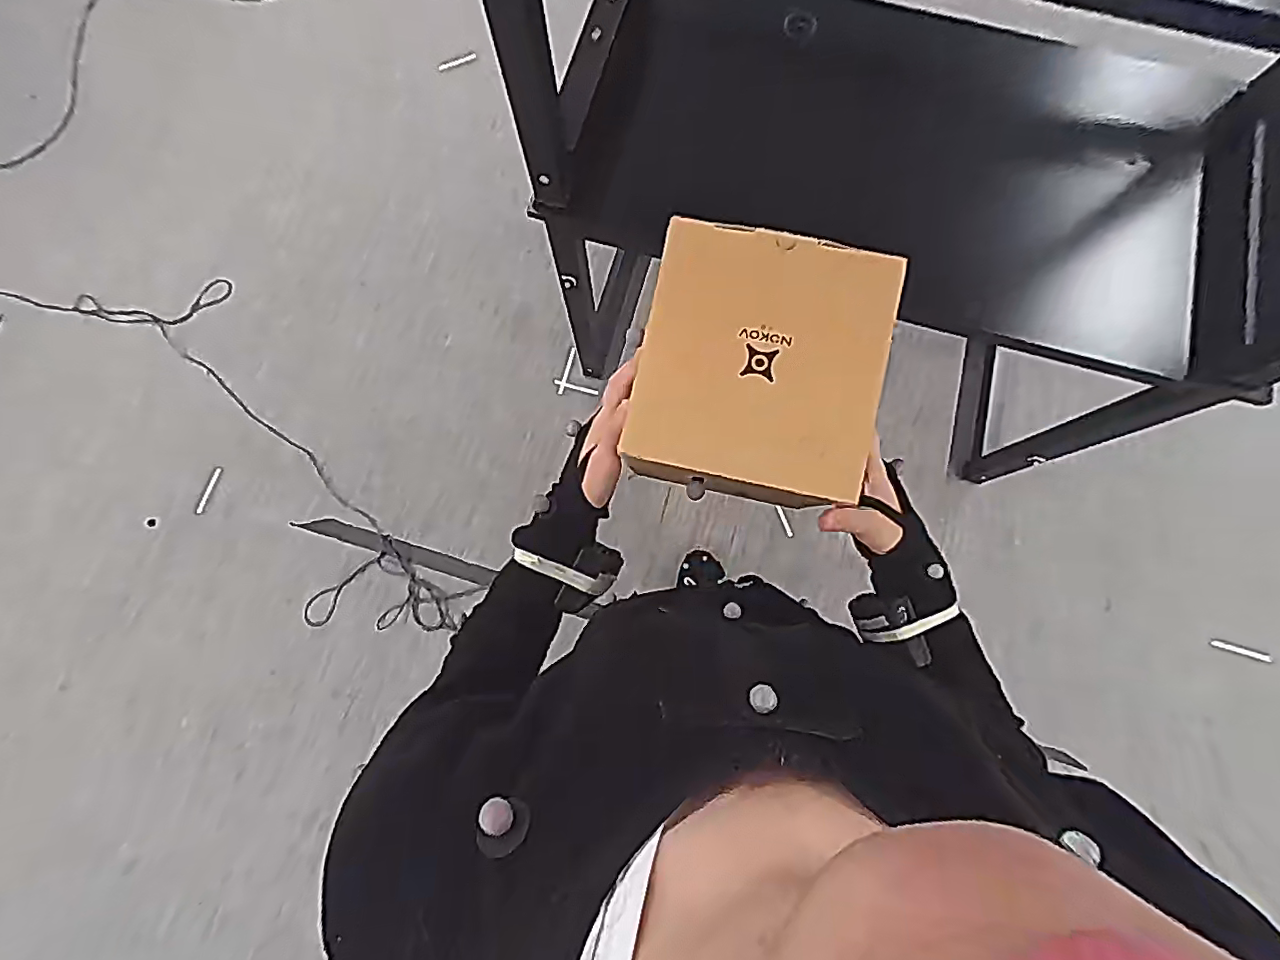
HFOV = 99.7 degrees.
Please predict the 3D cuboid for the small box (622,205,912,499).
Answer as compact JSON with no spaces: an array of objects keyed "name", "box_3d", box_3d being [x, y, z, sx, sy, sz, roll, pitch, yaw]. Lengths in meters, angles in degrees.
[{"name":"small box","box_3d":[0.090,-0.085,0.443,0.168,0.176,0.179,12,86,4]}]
